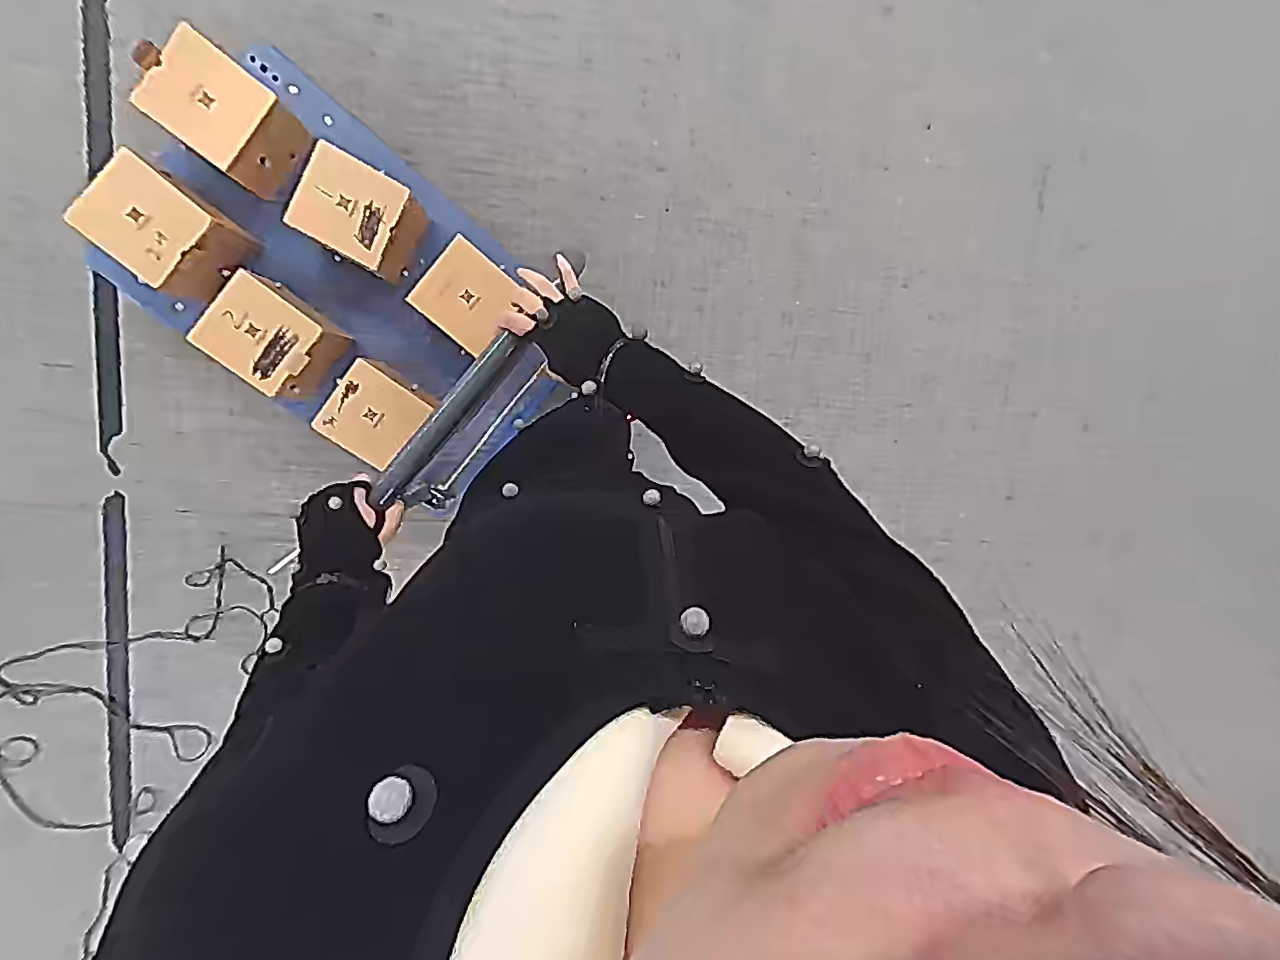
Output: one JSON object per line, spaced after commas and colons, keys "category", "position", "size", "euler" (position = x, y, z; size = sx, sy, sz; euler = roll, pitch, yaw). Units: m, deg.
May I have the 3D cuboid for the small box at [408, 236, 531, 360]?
{"category": "small box", "position": [-0.341, -0.366, 1.128], "size": [0.179, 0.176, 0.168], "euler": [39, 90, -12]}

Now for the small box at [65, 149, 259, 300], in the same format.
{"category": "small box", "position": [-0.880, -0.464, 1.018], "size": [0.179, 0.176, 0.168], "euler": [40, 91, -14]}

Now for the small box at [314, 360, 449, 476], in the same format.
{"category": "small box", "position": [-0.525, -0.132, 1.132], "size": [0.179, 0.176, 0.168], "euler": [35, 91, -13]}

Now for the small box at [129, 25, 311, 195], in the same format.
{"category": "small box", "position": [-0.762, -0.666, 1.007], "size": [0.179, 0.176, 0.168], "euler": [36, 92, -13]}

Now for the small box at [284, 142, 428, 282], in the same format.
{"category": "small box", "position": [-0.546, -0.513, 1.069], "size": [0.179, 0.176, 0.168], "euler": [27, 94, -12]}
